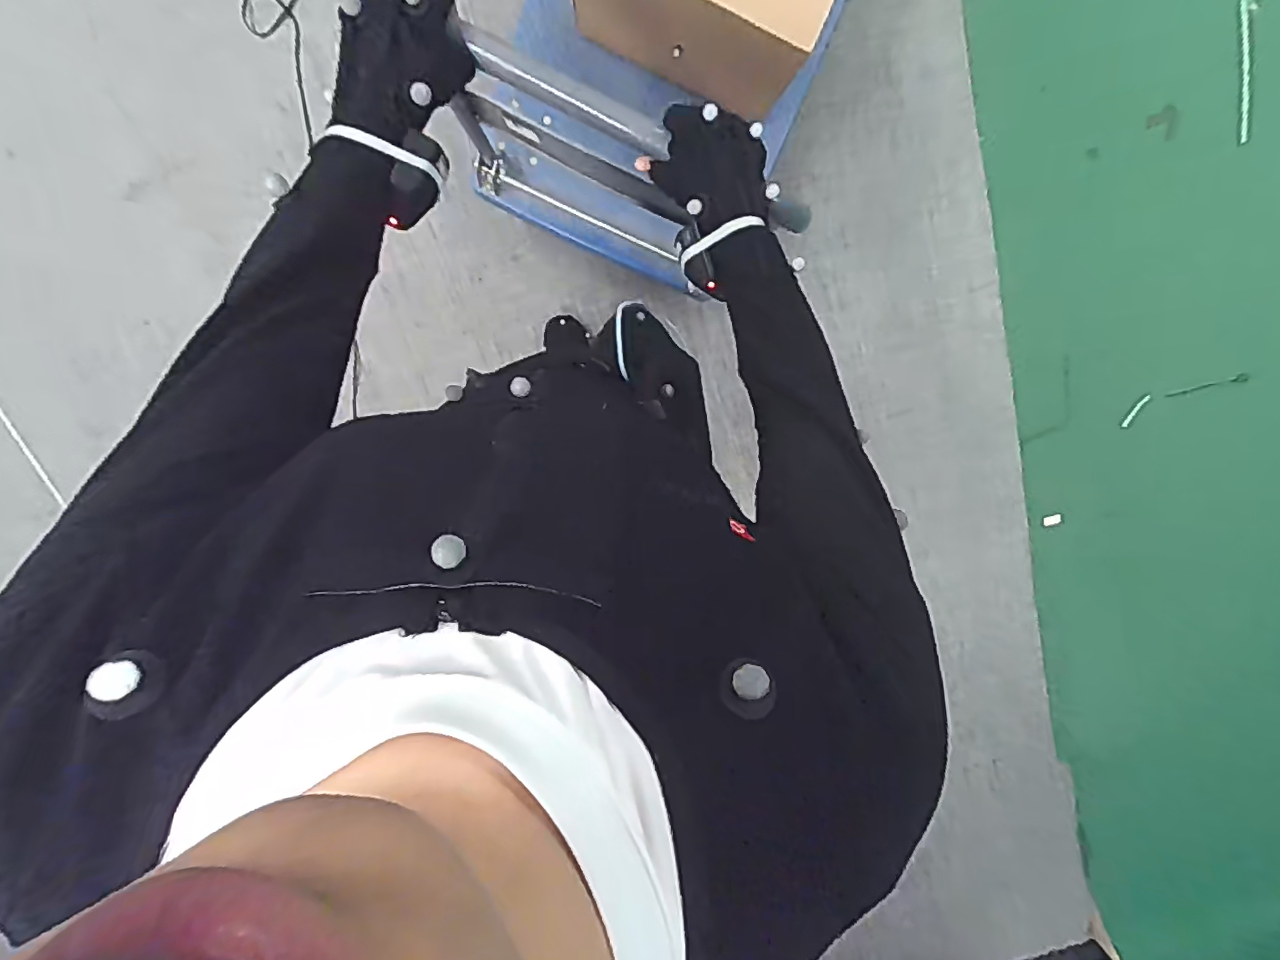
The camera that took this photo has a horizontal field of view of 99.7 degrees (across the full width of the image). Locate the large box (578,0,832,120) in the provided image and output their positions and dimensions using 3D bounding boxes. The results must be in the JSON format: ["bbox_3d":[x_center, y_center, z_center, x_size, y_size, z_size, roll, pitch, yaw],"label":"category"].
[{"bbox_3d":[0.130,-0.903,0.918,0.408,0.320,0.320,21,103,-8],"label":"large box"}]
